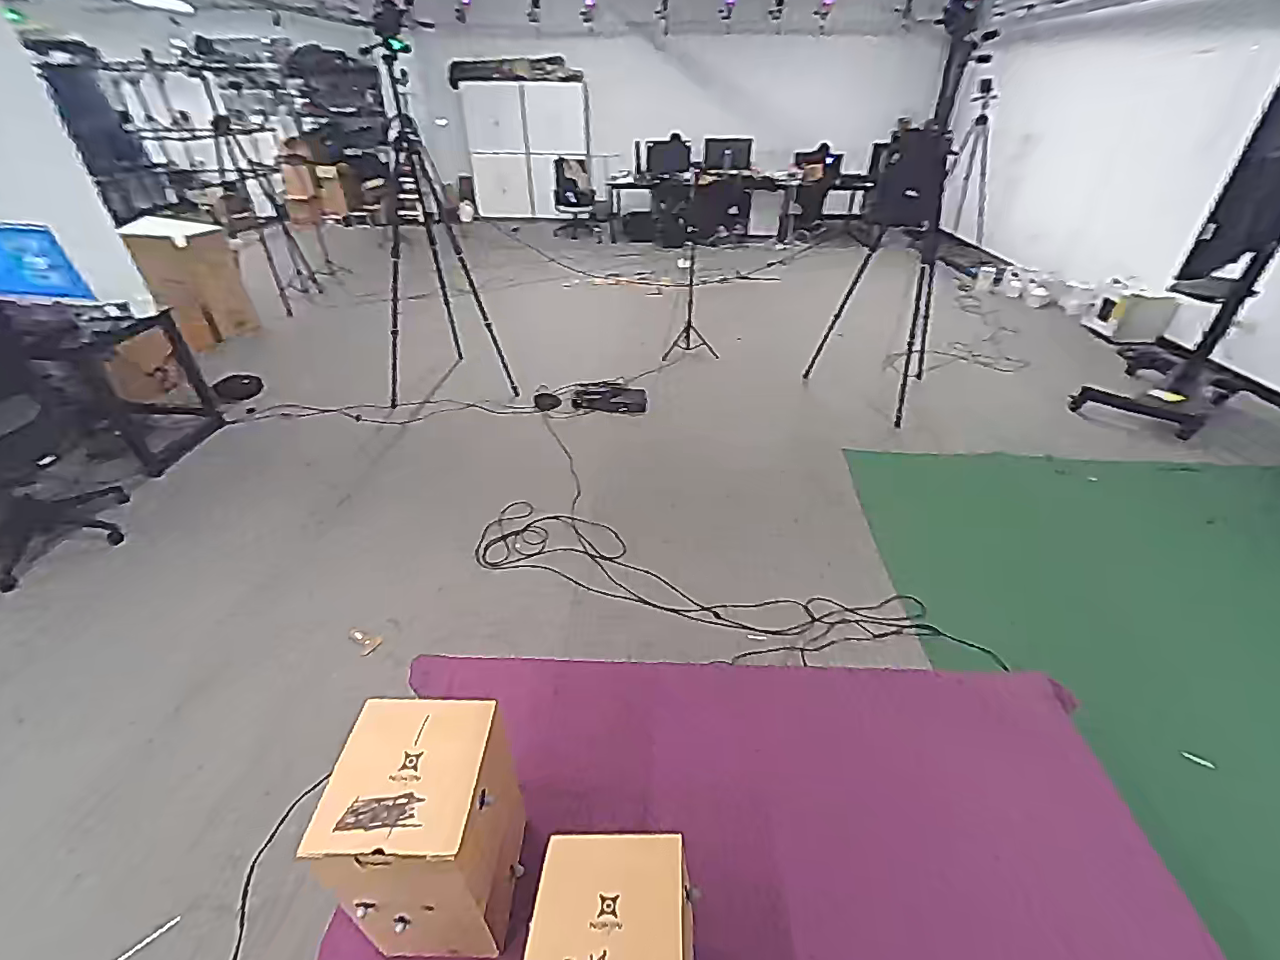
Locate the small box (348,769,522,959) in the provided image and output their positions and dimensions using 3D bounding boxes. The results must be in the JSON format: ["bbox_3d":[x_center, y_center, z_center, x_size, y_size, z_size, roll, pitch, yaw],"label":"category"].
[{"bbox_3d":[-0.265,0.528,0.750,0.168,0.176,0.179,0,35,1],"label":"small box"}]

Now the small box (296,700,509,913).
[{"bbox_3d":[-0.263,0.393,0.654,0.168,0.176,0.179,1,35,1],"label":"small box"}]

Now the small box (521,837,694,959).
[{"bbox_3d":[-0.028,0.544,0.611,0.168,0.176,0.179,-5,24,8],"label":"small box"}]
